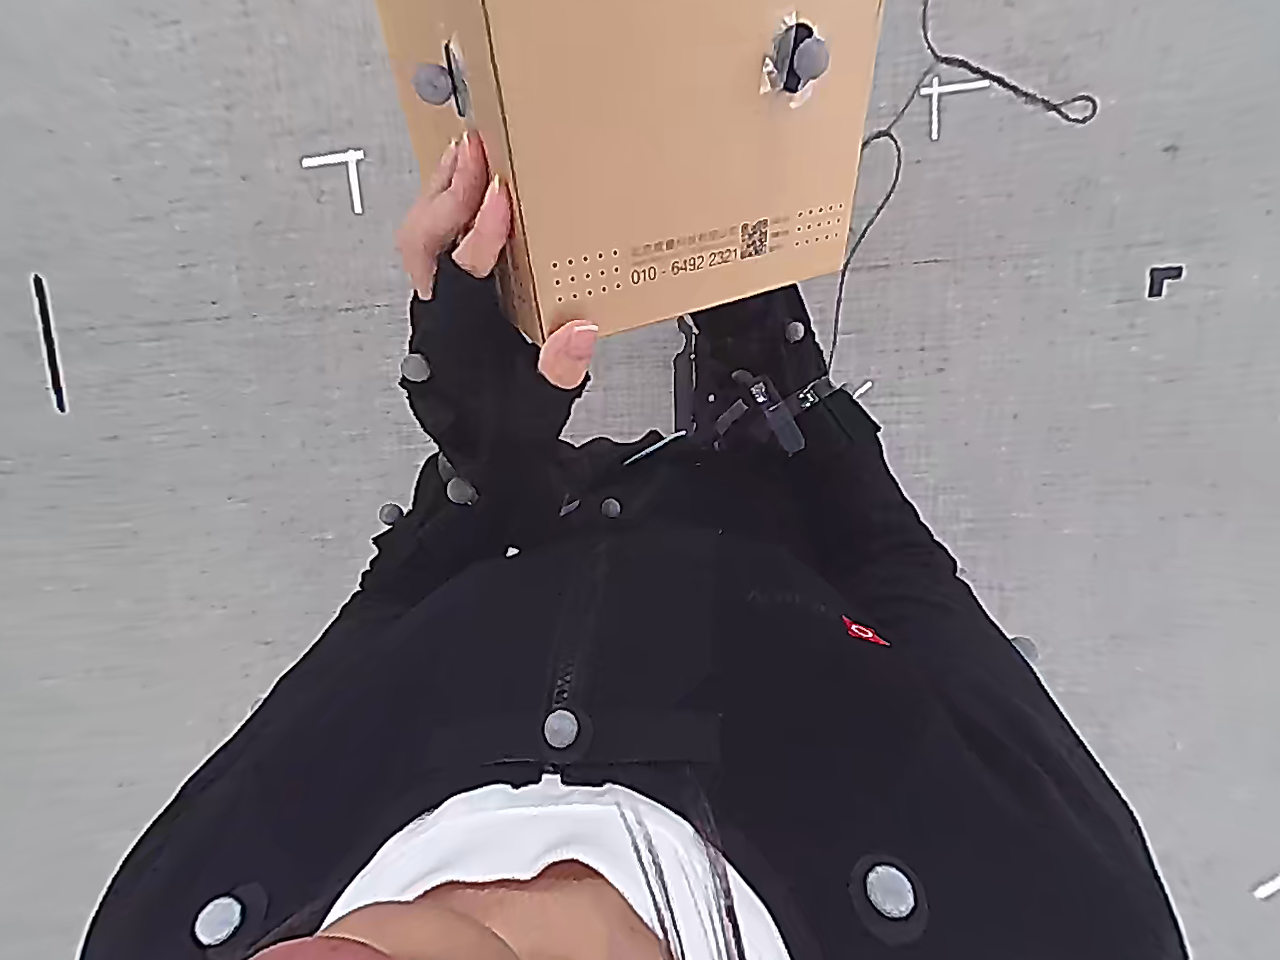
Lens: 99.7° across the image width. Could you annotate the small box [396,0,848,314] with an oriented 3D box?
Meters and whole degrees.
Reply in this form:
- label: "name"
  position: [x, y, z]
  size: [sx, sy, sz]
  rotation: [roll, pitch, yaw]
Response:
- label: "small box"
  position: [-0.012, -0.197, 0.278]
  size: [0.168, 0.179, 0.176]
  rotation: [-21, 130, -22]
